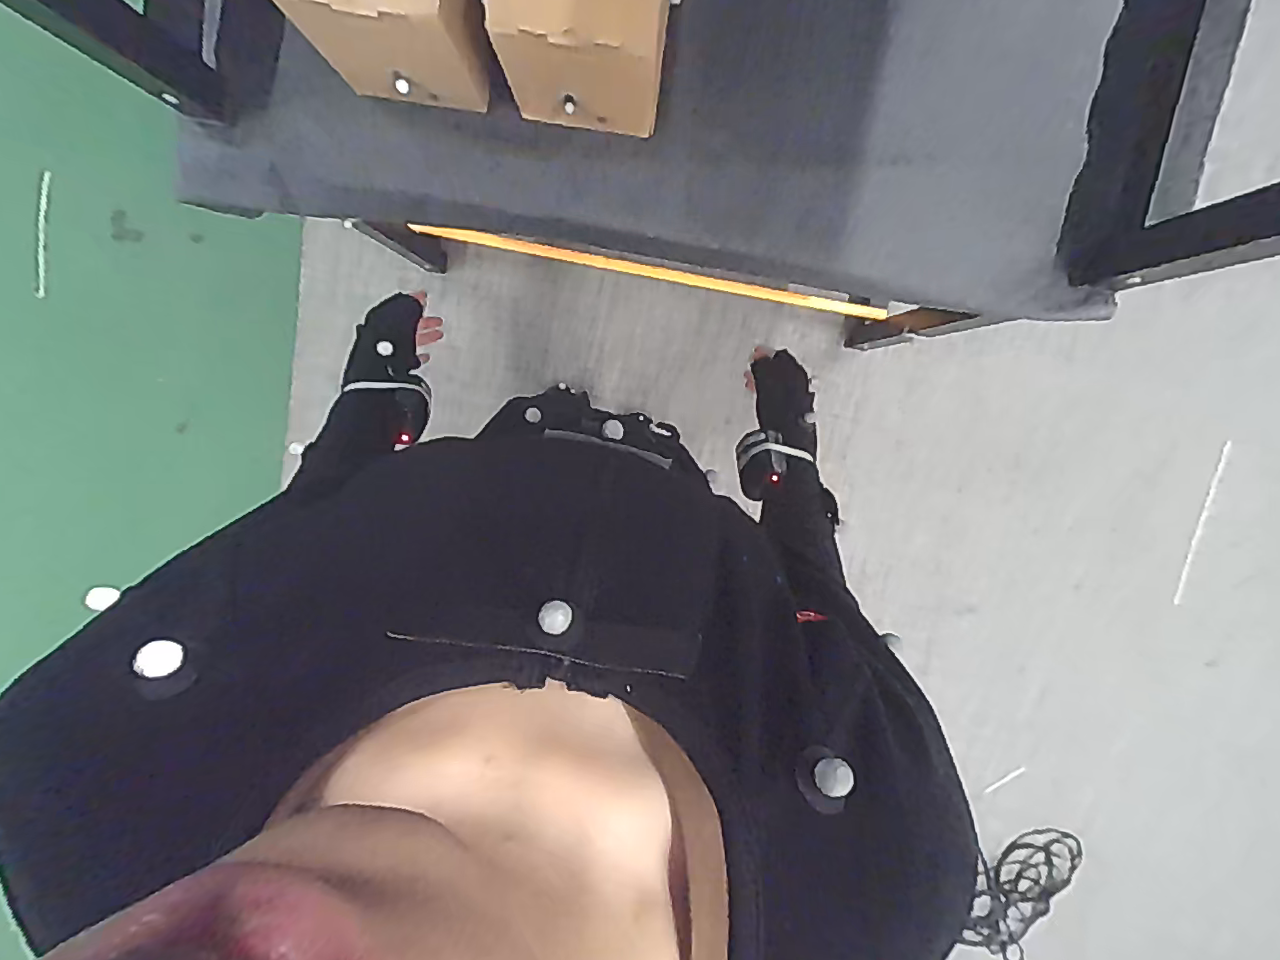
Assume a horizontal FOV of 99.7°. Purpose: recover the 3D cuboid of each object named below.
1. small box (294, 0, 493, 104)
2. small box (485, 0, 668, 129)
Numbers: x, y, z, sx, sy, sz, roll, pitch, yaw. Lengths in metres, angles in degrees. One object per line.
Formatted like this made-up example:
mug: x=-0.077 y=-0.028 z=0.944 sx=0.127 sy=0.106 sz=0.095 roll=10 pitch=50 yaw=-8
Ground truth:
small box: x=-0.258 y=-0.547 z=0.574 sx=0.168 sy=0.176 sz=0.179 roll=8 pitch=98 yaw=-2
small box: x=-0.056 y=-0.522 z=0.583 sx=0.168 sy=0.176 sz=0.179 roll=8 pitch=98 yaw=-1
